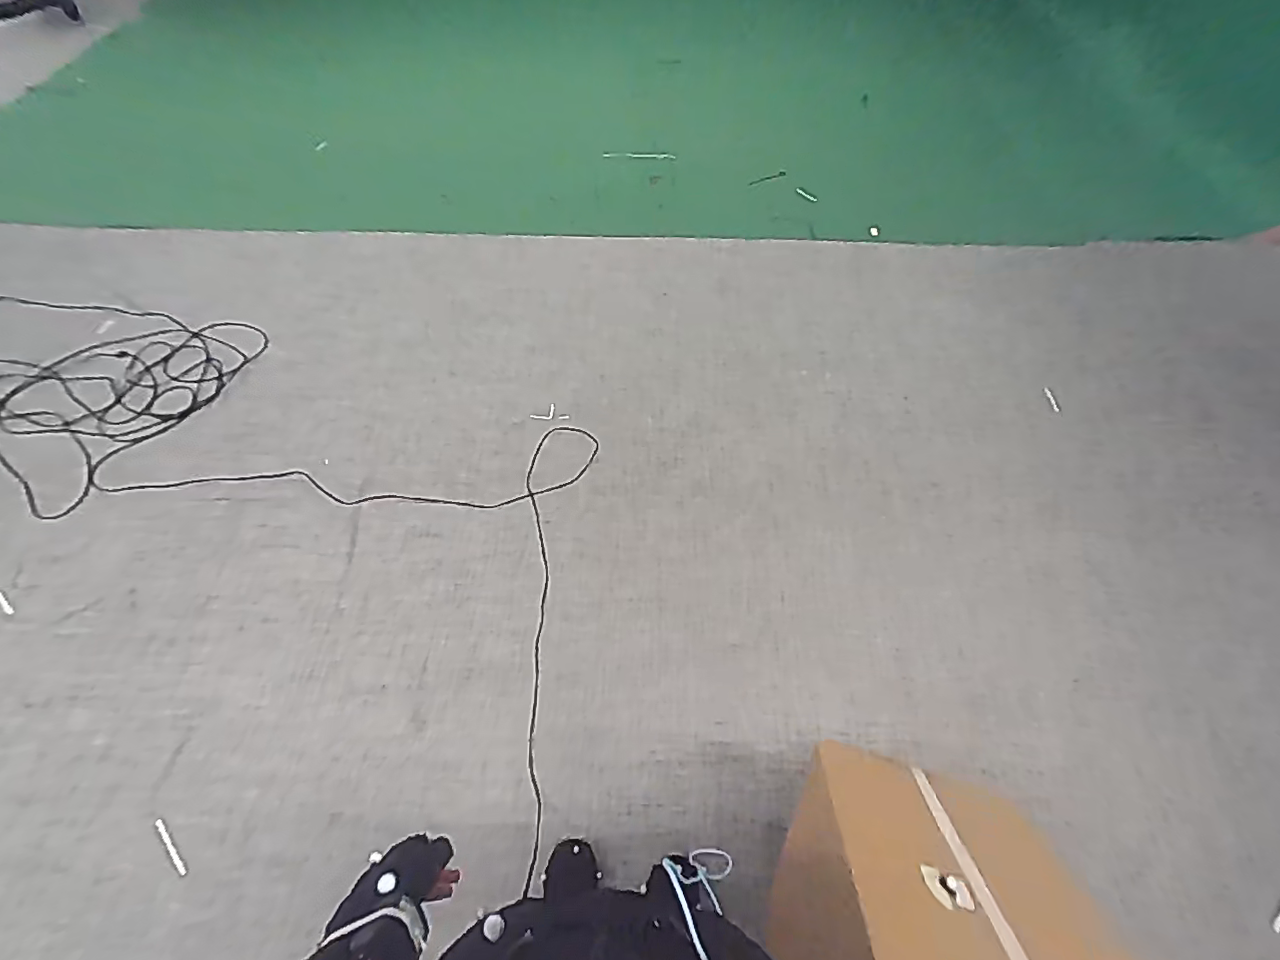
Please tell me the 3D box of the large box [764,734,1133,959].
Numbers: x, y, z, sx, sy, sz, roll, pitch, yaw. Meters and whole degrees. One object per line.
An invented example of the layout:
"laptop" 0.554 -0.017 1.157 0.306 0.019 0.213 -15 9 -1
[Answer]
"large box" 0.362 0.615 0.687 0.320 0.408 0.320 15 98 8
